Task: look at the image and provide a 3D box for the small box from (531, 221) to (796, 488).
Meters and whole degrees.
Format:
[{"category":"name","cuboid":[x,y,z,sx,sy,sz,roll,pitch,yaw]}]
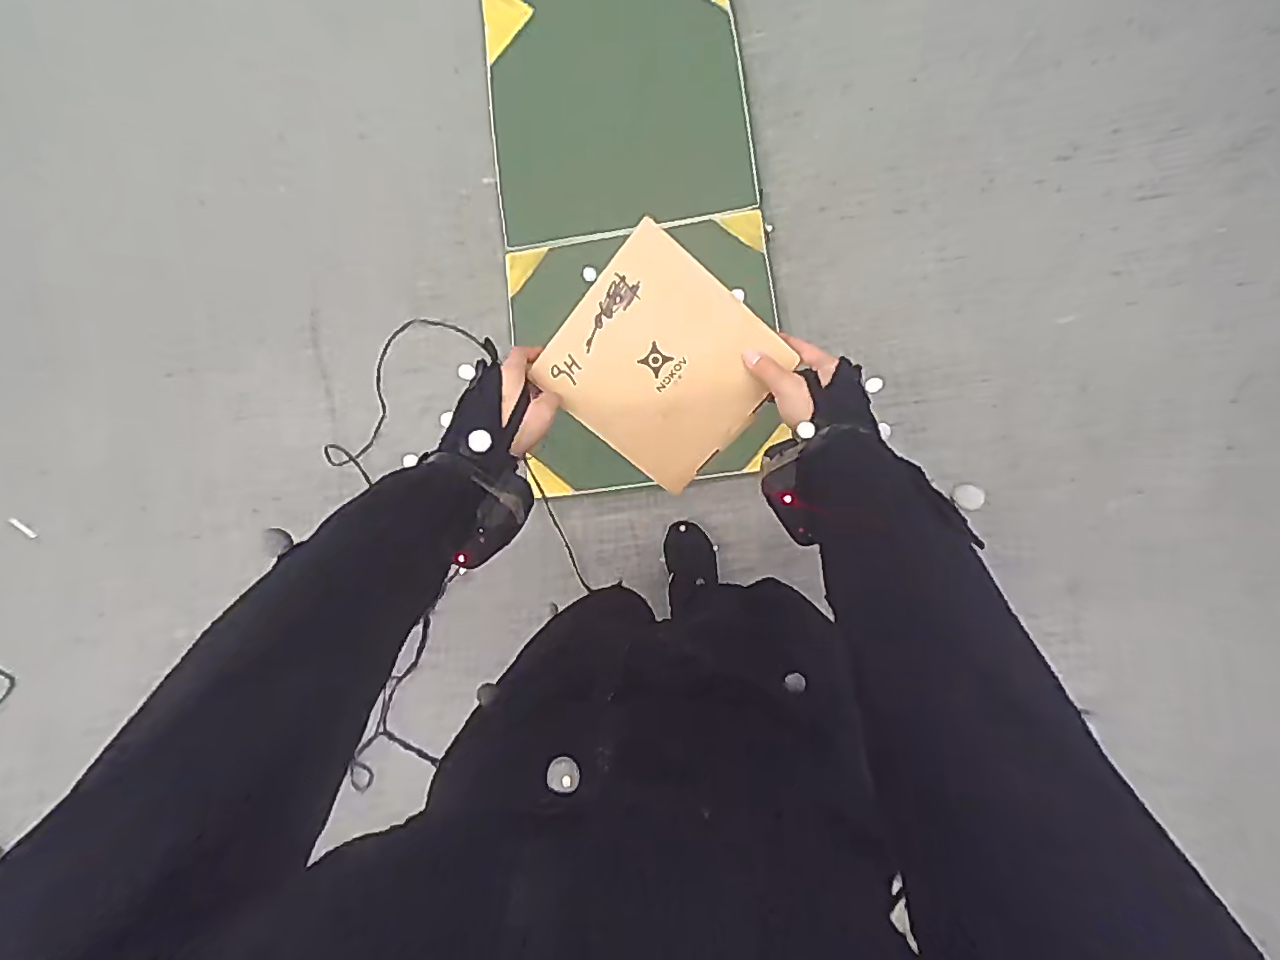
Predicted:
[{"category":"small box","cuboid":[0.022,-0.127,0.546,0.179,0.176,0.168,39,105,-11]}]
